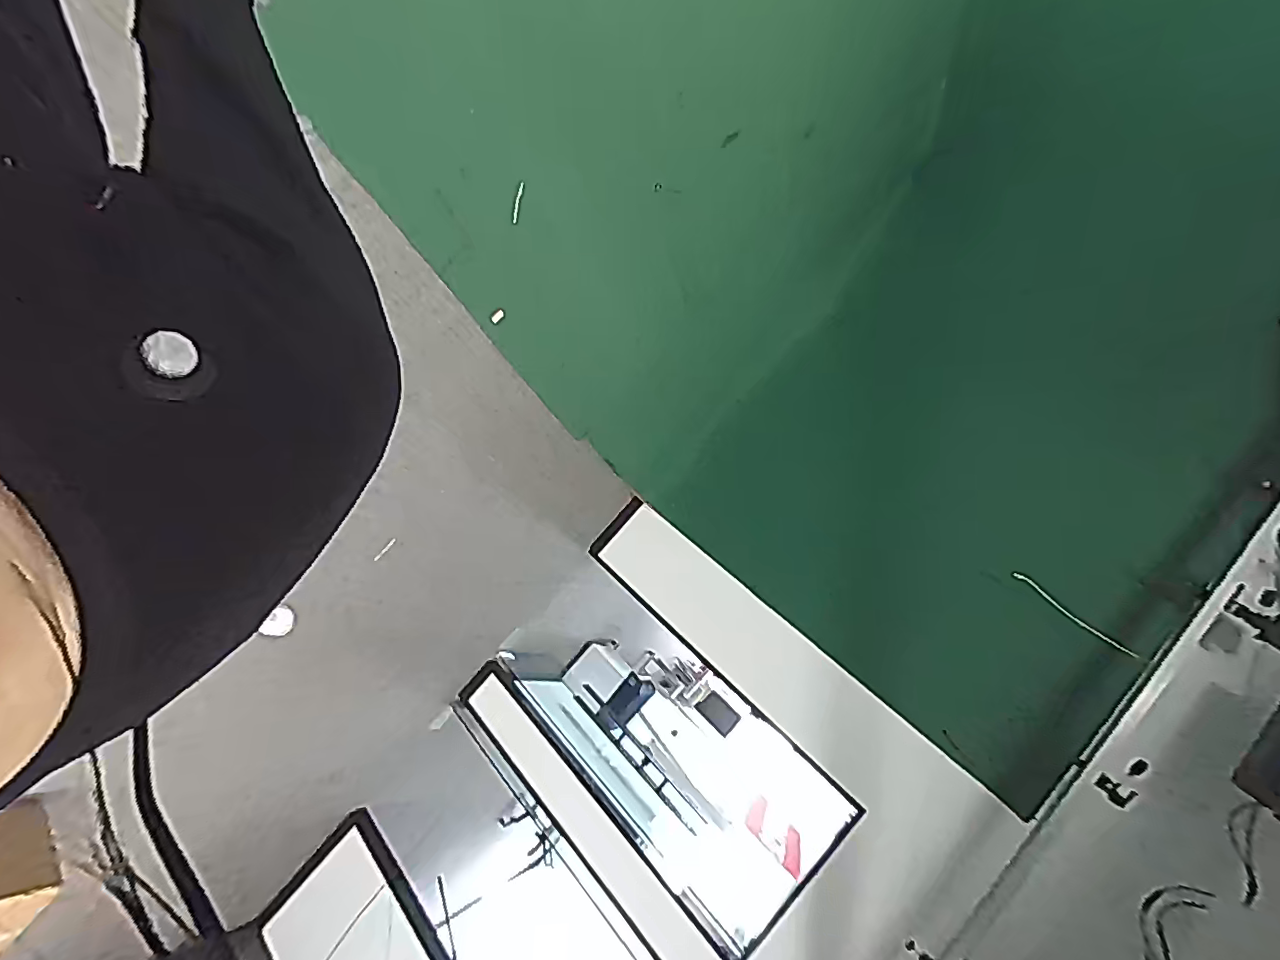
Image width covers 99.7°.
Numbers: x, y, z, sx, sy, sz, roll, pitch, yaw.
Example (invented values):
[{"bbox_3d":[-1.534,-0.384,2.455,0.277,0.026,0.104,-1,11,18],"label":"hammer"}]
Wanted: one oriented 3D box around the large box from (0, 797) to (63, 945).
[{"bbox_3d":[-1.959,1.131,1.464,0.320,0.320,0.408,-46,155,-6],"label":"large box"}]
